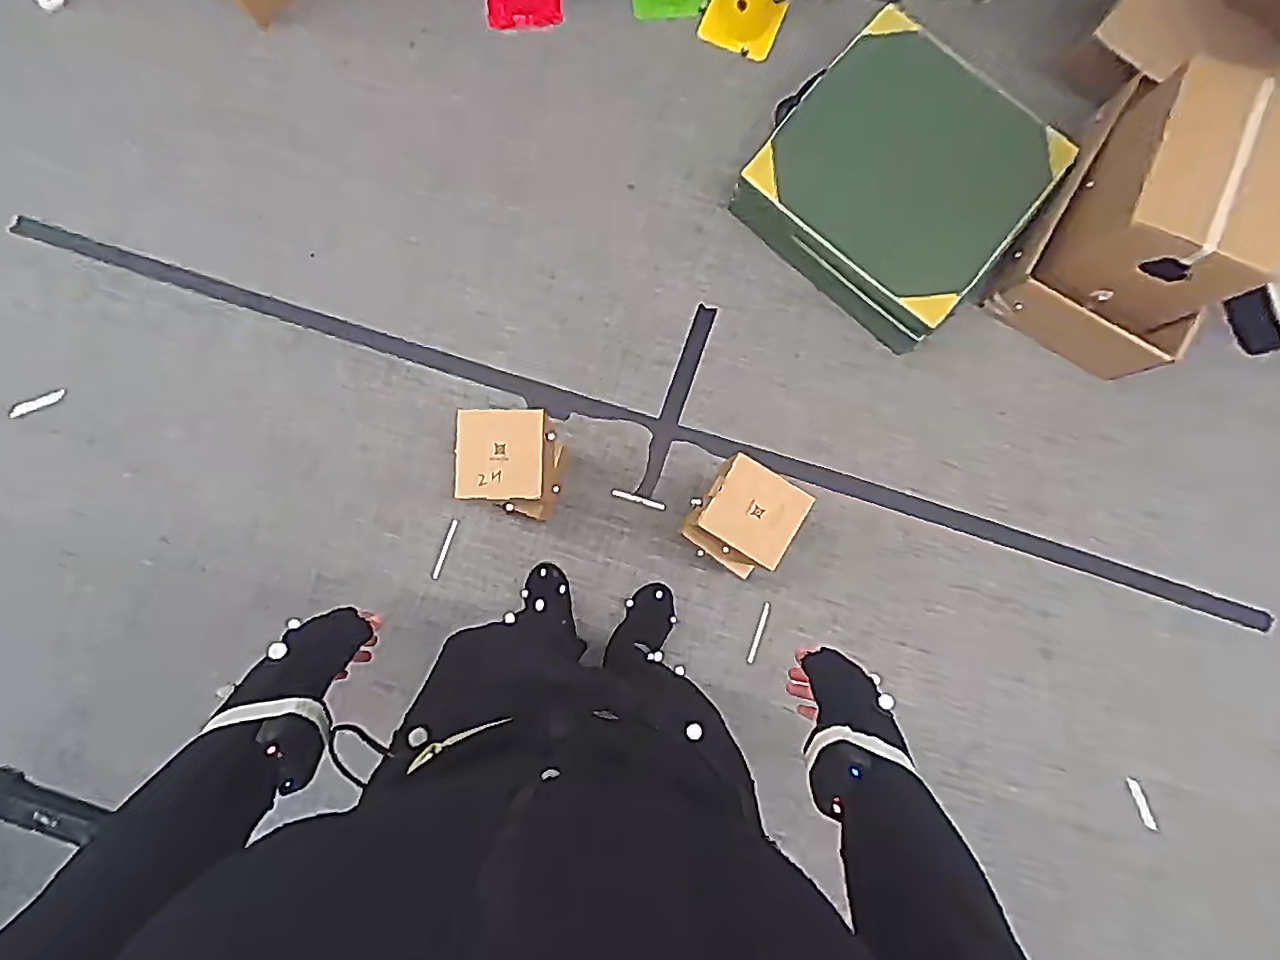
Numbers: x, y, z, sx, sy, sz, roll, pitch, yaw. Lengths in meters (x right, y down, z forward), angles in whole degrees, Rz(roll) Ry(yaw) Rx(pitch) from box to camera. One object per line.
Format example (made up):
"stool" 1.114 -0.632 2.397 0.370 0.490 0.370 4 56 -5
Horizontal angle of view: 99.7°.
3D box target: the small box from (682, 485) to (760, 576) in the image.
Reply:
"small box" 0.217 0.107 1.275 0.179 0.176 0.168 34 85 1

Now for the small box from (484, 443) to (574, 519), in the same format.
"small box" -0.262 -0.012 1.279 0.168 0.176 0.179 17 84 1

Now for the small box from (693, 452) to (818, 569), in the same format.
"small box" 0.225 0.066 1.113 0.179 0.176 0.168 32 86 1

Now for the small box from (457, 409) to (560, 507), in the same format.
"small box" -0.262 -0.039 1.116 0.168 0.176 0.179 4 87 1
